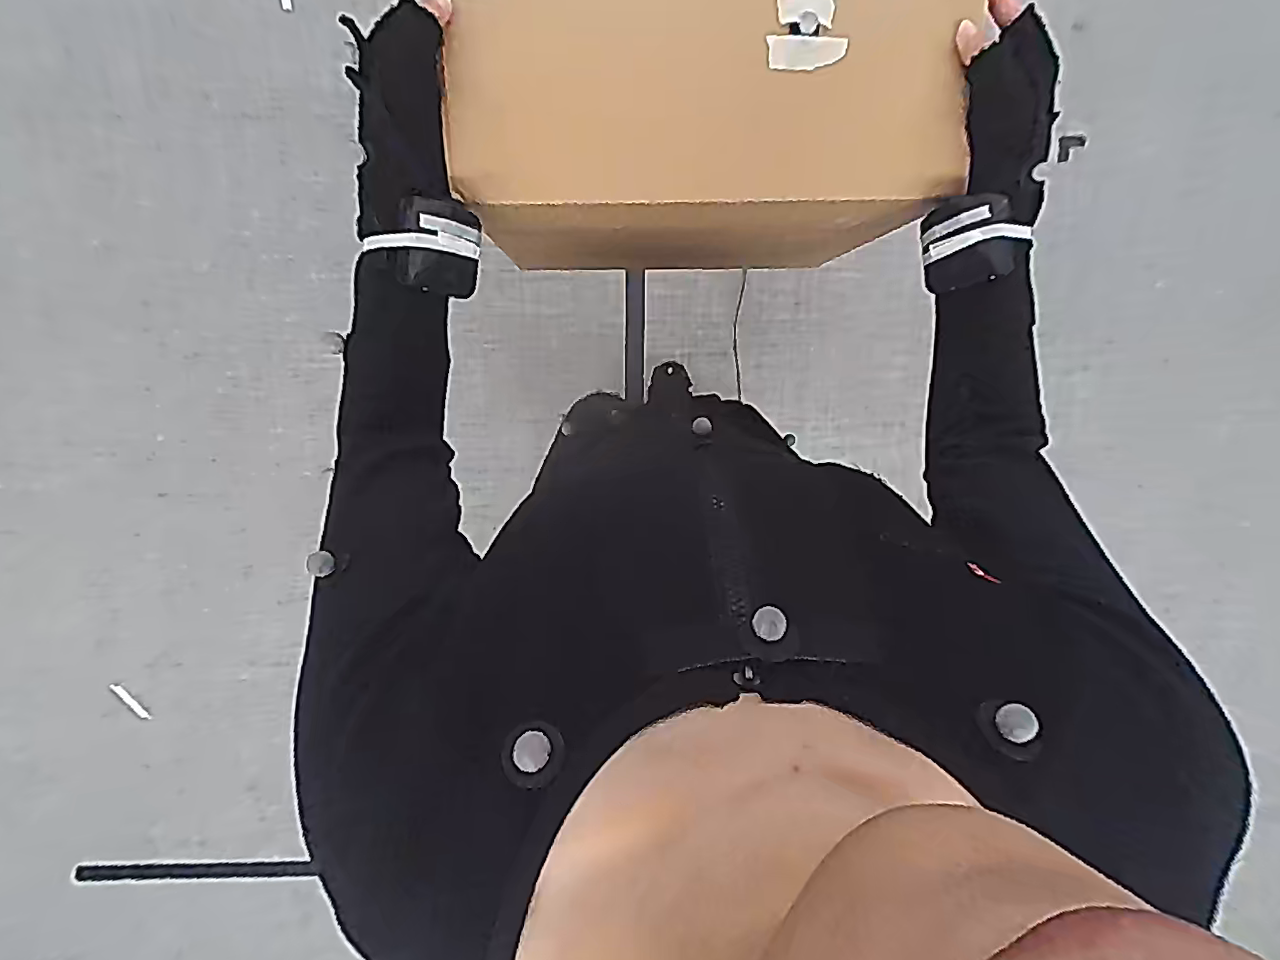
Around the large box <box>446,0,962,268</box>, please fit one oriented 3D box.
[{"bbox_3d":[0.041,-0.412,0.551,0.408,0.320,0.320,-3,103,-3],"label":"large box"}]
